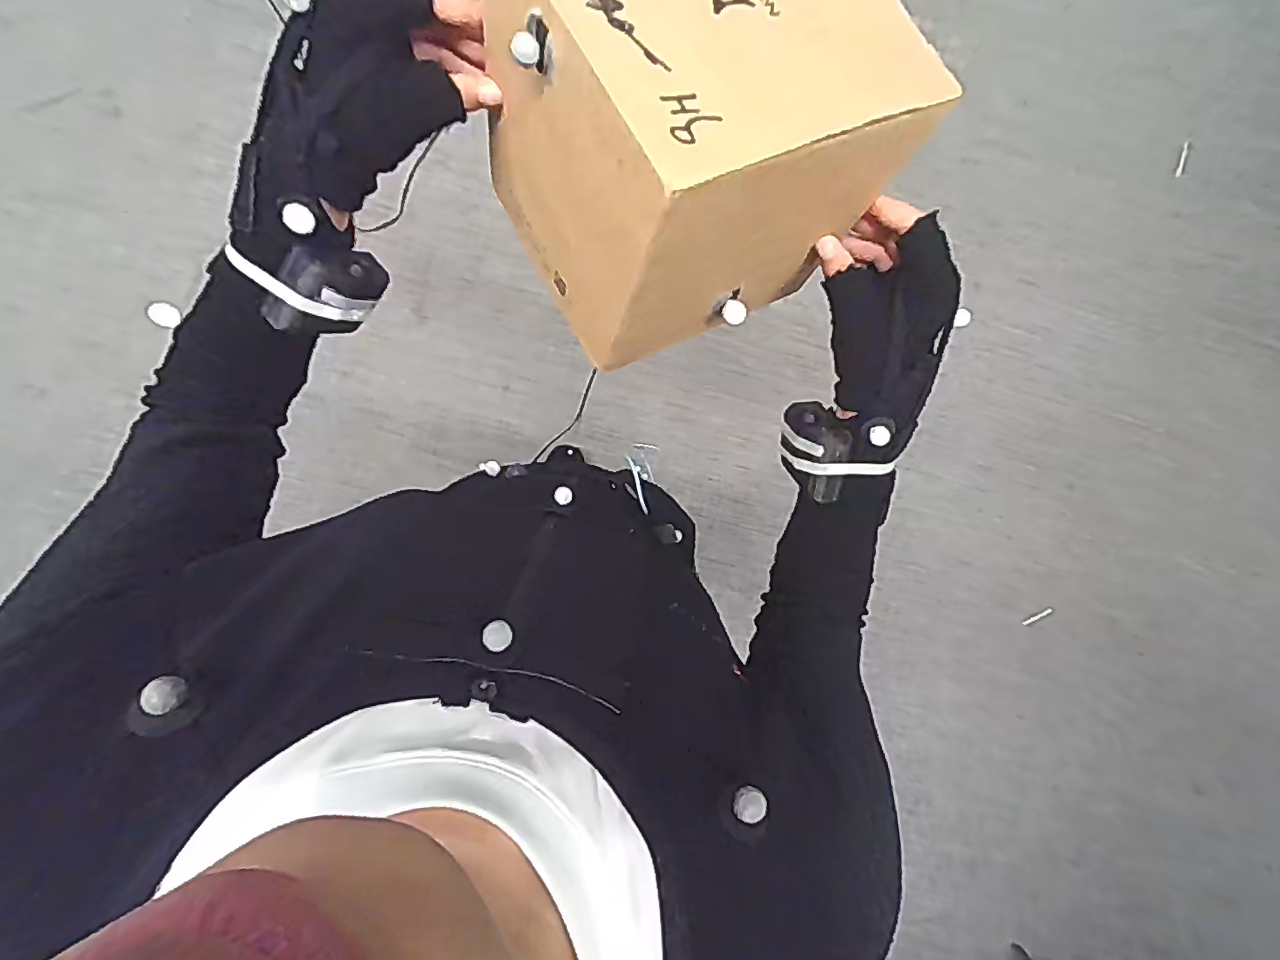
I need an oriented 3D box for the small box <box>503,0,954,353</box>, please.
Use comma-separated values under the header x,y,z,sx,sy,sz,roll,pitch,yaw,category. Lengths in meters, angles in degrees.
x,y,z,sx,sy,sz,roll,pitch,yaw,category
0.028,-0.206,0.325,0.179,0.176,0.168,-27,84,-18,small box
